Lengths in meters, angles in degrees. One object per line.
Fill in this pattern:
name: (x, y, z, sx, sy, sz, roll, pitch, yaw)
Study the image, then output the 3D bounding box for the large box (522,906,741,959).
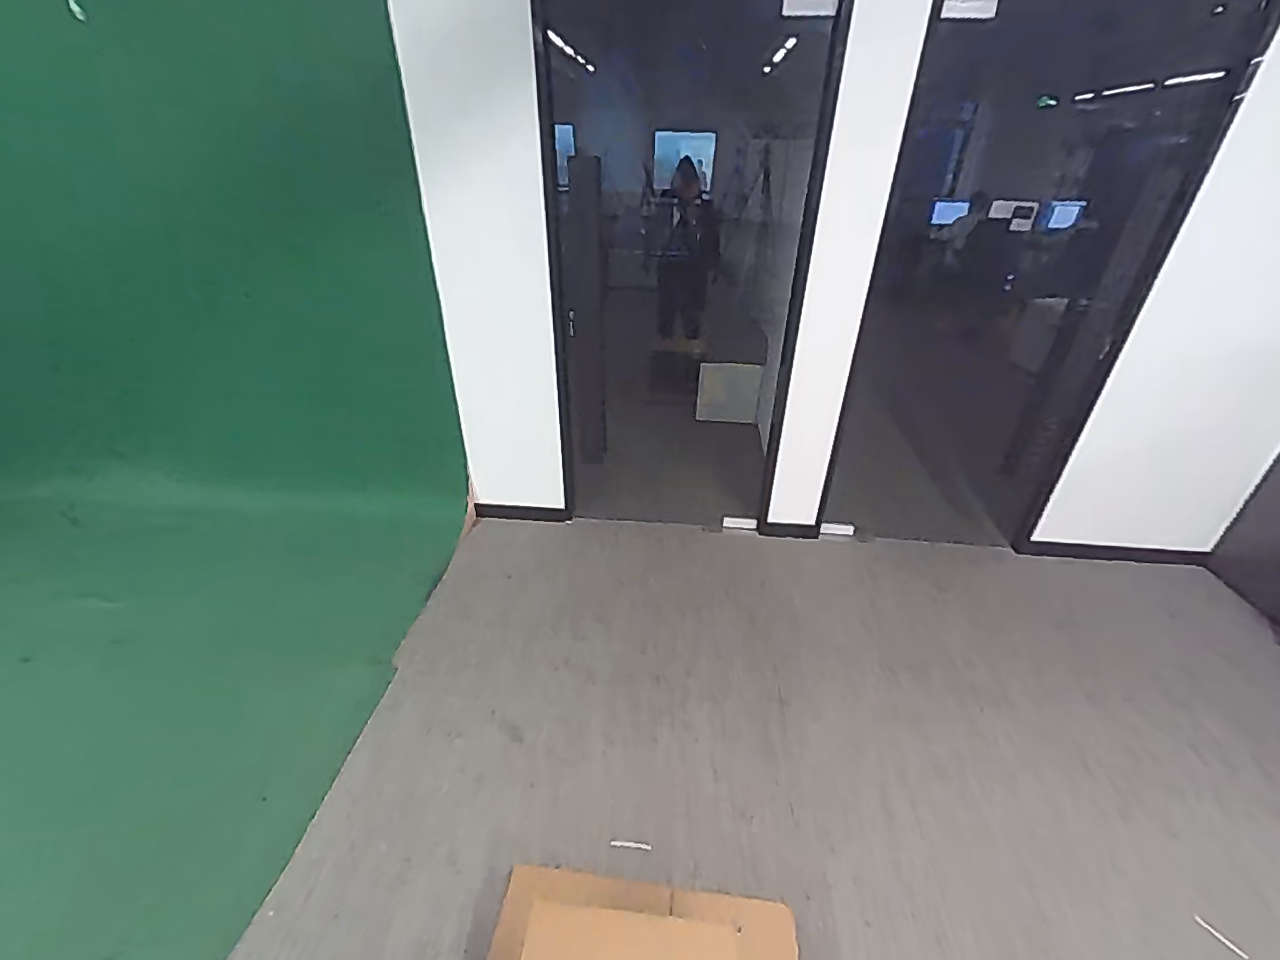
large box: (-0.028, 1.043, 0.982, 0.408, 0.320, 0.320, 5, 31, 3)
